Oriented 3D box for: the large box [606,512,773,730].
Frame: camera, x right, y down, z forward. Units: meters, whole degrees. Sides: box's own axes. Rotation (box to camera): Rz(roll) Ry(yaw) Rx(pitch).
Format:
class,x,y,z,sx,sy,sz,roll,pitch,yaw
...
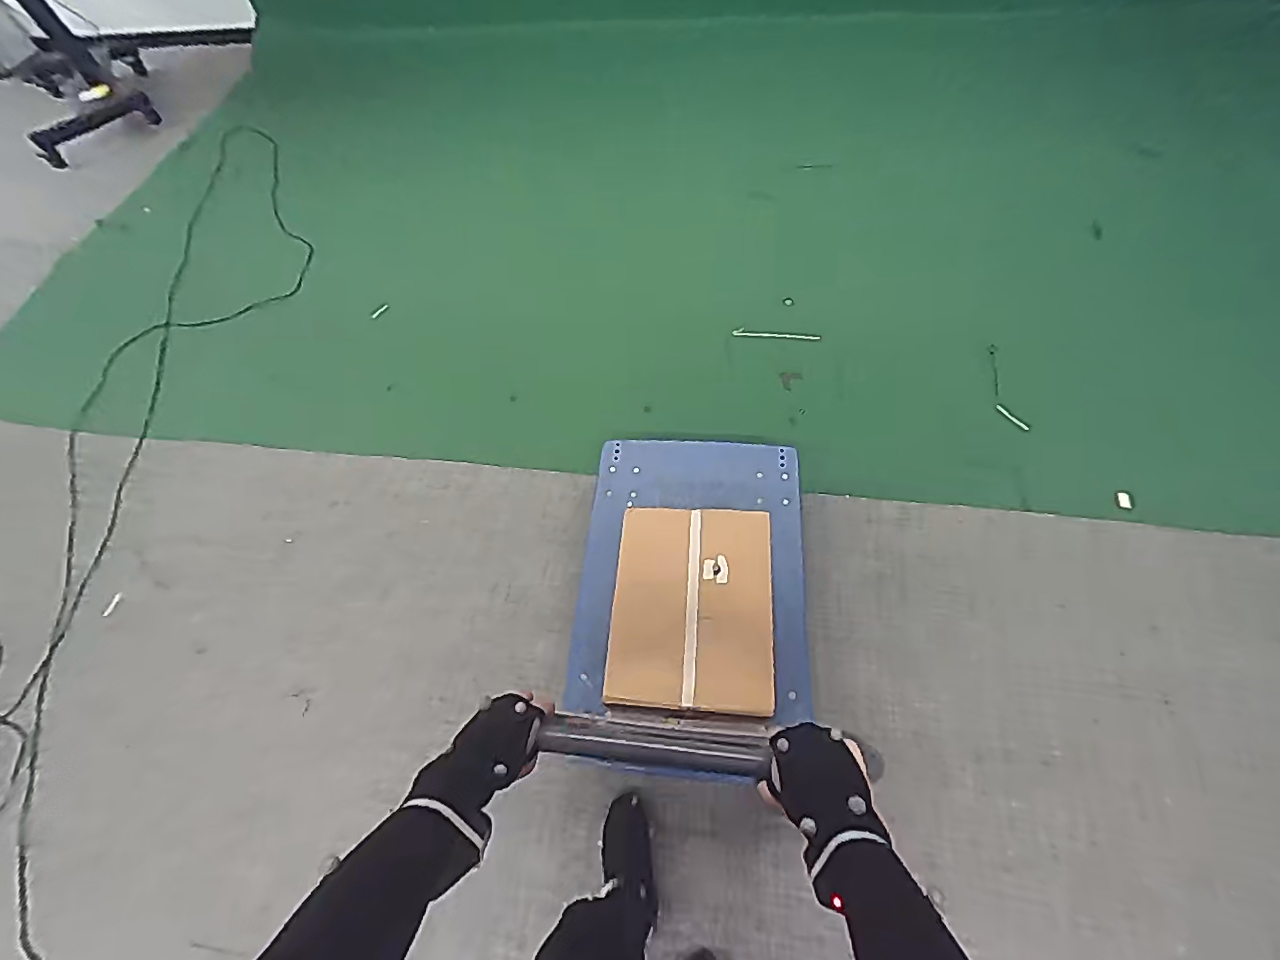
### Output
class,x,y,z,sx,sy,sz,roll,pitch,yaw
large box,0.119,0.320,1.211,0.320,0.320,0.408,2,60,8
